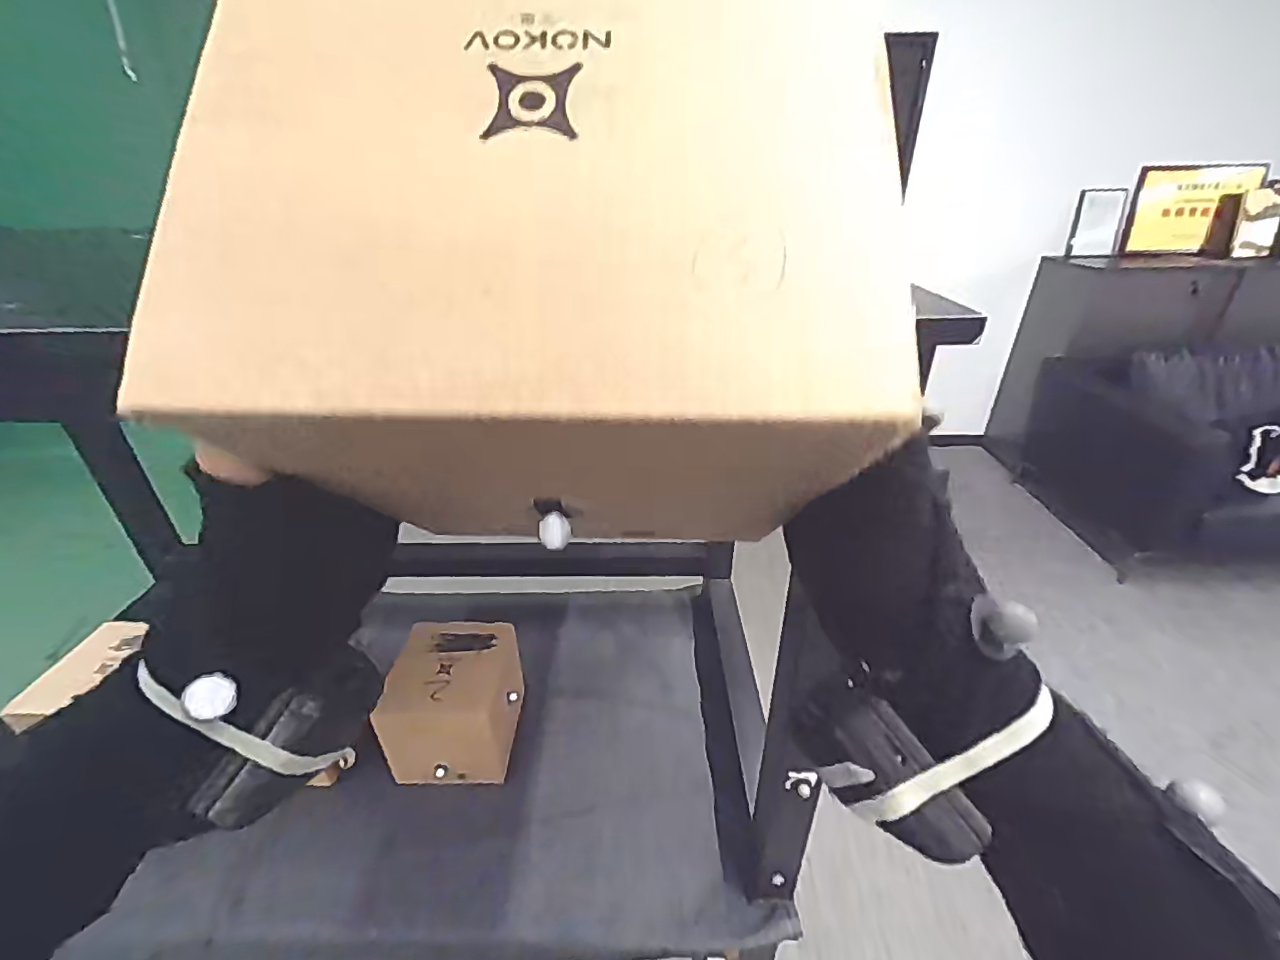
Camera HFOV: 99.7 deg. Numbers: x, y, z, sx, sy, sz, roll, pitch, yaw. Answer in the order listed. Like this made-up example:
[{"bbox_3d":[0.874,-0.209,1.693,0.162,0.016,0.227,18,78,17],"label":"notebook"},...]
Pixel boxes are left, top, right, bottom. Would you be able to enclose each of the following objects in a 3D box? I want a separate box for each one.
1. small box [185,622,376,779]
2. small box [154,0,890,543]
[{"bbox_3d":[-0.549,0.349,0.860,0.168,0.176,0.179,1,30,1],"label":"small box"},{"bbox_3d":[-0.023,-0.071,0.214,0.168,0.179,0.176,2,-14,1],"label":"small box"}]
